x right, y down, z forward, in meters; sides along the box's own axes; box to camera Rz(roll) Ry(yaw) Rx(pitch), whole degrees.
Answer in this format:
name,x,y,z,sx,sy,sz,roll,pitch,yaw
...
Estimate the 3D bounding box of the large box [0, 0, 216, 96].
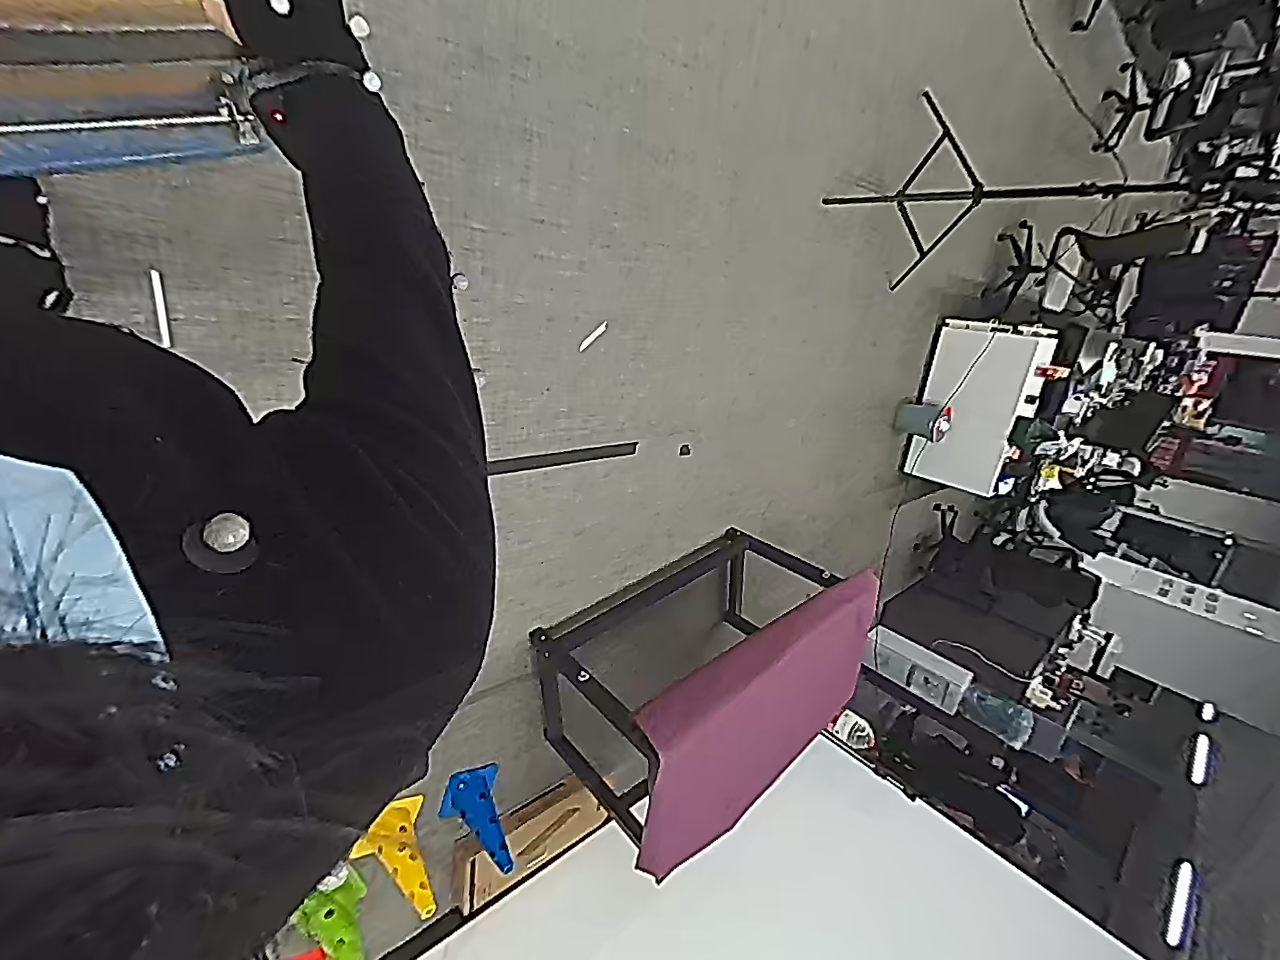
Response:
name,x,y,z,sx,sy,sz,roll,pitch,yaw
large box,-0.803,-0.653,0.614,0.408,0.320,0.320,-29,125,-33
